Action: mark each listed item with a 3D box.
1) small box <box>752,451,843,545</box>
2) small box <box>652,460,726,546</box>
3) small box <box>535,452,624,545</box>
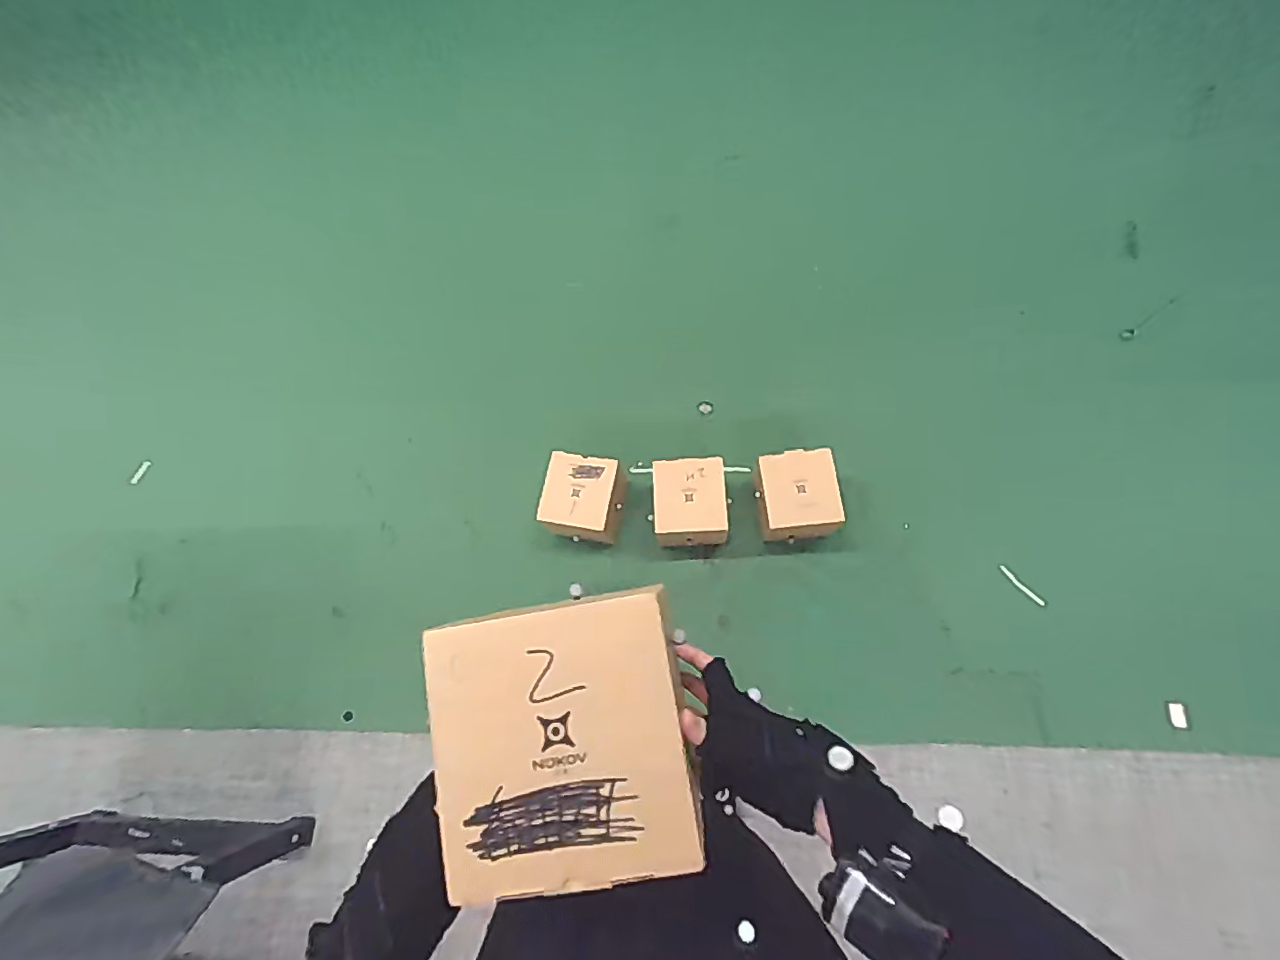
[{"bbox_3d":[0.364,0.048,1.284,0.168,0.176,0.179,-6,72,4],"label":"small box"},{"bbox_3d":[0.118,0.063,1.301,0.168,0.176,0.179,-2,72,4],"label":"small box"},{"bbox_3d":[-0.139,0.050,1.331,0.168,0.176,0.179,9,75,9],"label":"small box"}]
